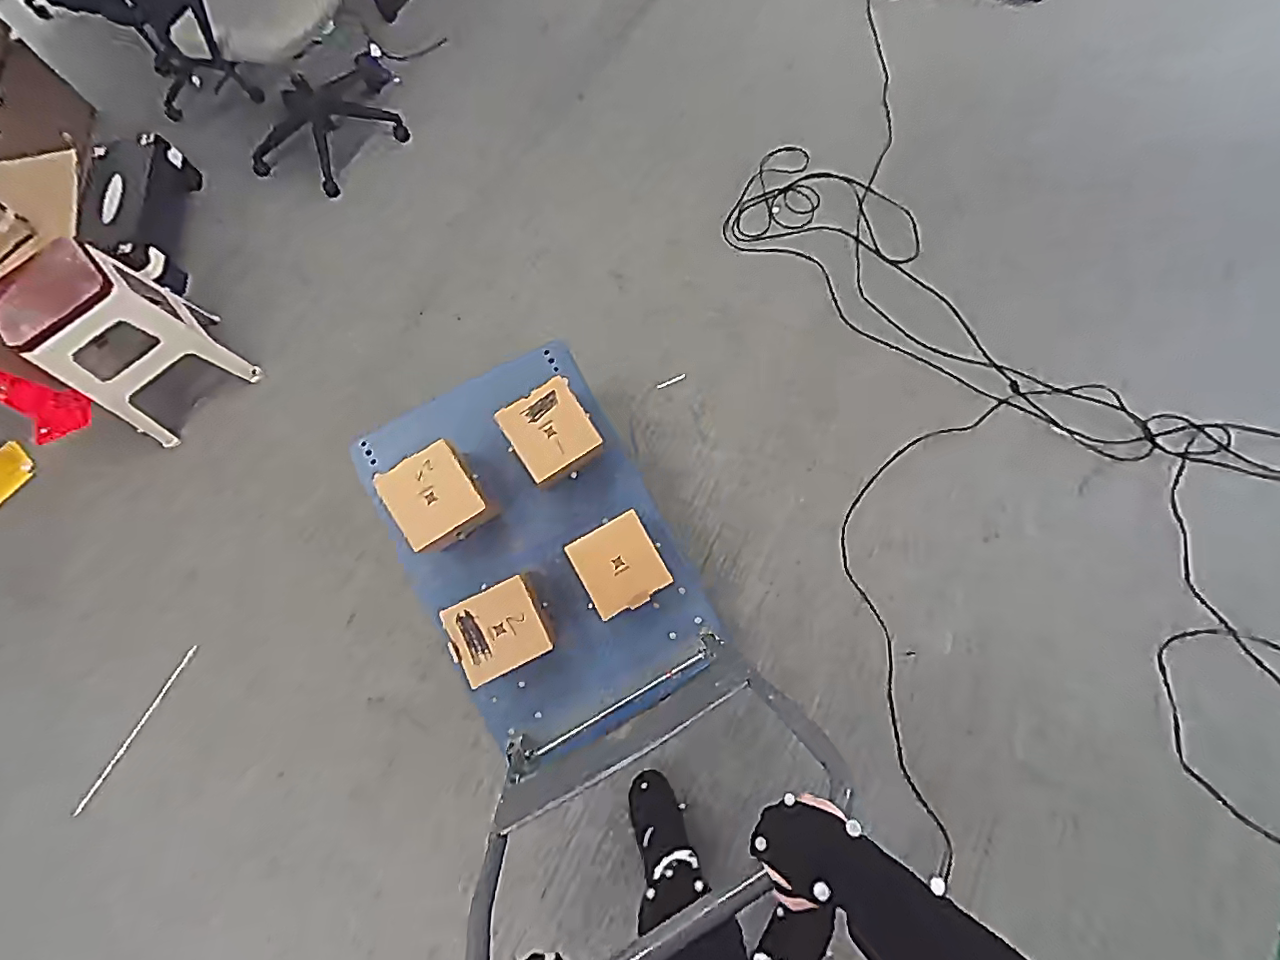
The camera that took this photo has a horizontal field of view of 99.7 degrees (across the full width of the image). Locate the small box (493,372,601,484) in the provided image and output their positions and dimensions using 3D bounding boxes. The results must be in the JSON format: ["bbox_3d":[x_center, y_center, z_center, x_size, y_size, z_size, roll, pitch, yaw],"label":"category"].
[{"bbox_3d":[-0.203,-0.107,1.206,0.168,0.176,0.179,-33,88,-7],"label":"small box"}]

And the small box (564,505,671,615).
[{"bbox_3d":[-0.053,0.174,1.188,0.168,0.176,0.179,-30,87,-7],"label":"small box"}]

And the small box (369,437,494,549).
[{"bbox_3d":[-0.438,0.032,1.170,0.168,0.176,0.179,-33,87,-8],"label":"small box"}]
